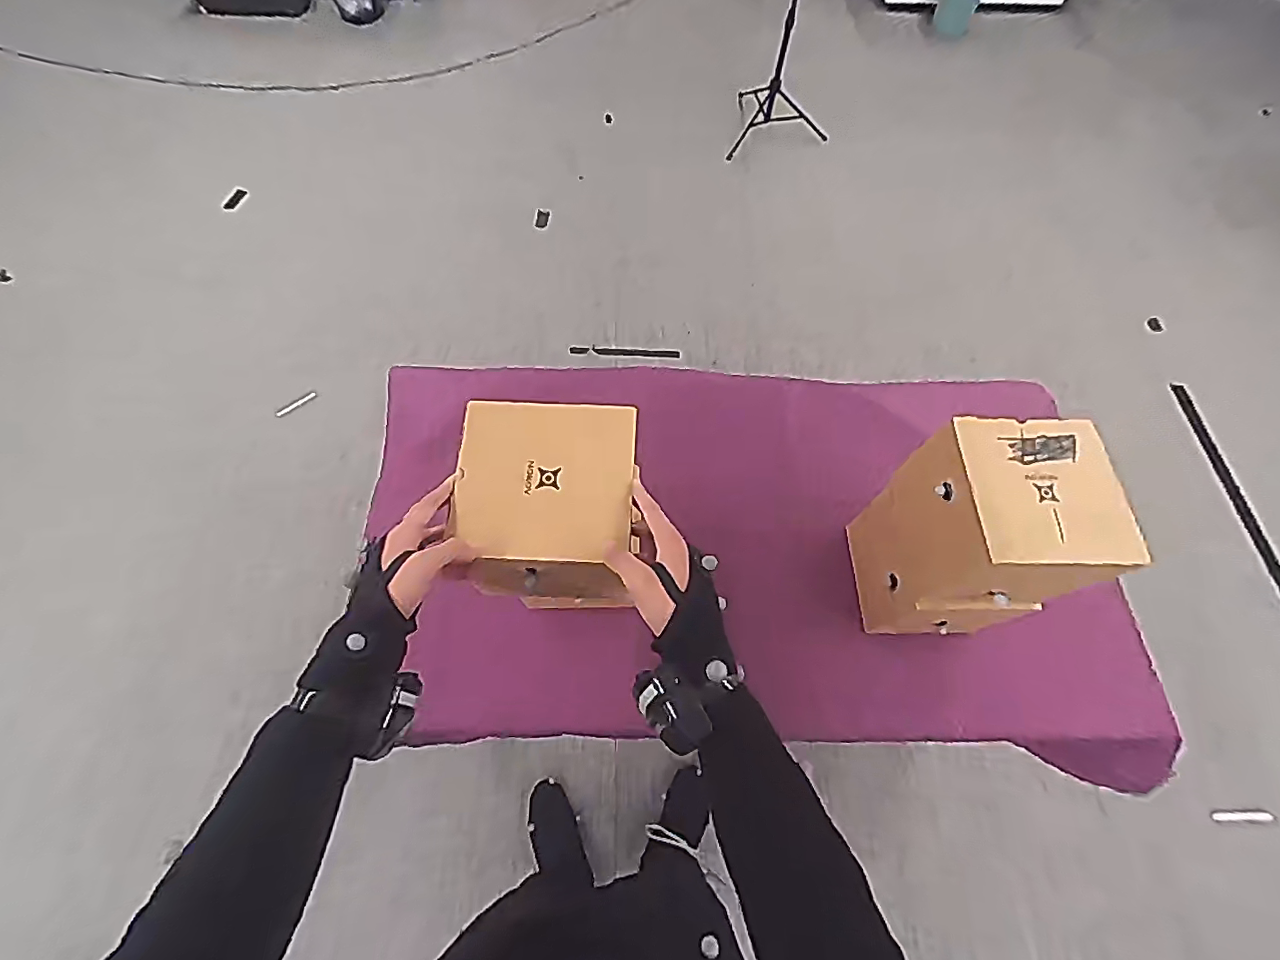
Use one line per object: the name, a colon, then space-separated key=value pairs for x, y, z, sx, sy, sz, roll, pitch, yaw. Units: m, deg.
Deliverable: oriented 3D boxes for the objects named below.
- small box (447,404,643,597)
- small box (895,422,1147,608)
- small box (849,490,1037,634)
small box: x=-0.088 y=0.032 z=0.600 sx=0.179 sy=0.176 sz=0.168 roll=2 pitch=67 yaw=1
small box: x=0.434 y=0.048 z=0.656 sx=0.168 sy=0.176 sz=0.179 roll=1 pitch=65 yaw=0
small box: x=0.429 y=0.128 z=0.800 sx=0.168 sy=0.176 sz=0.179 roll=1 pitch=64 yaw=-1
